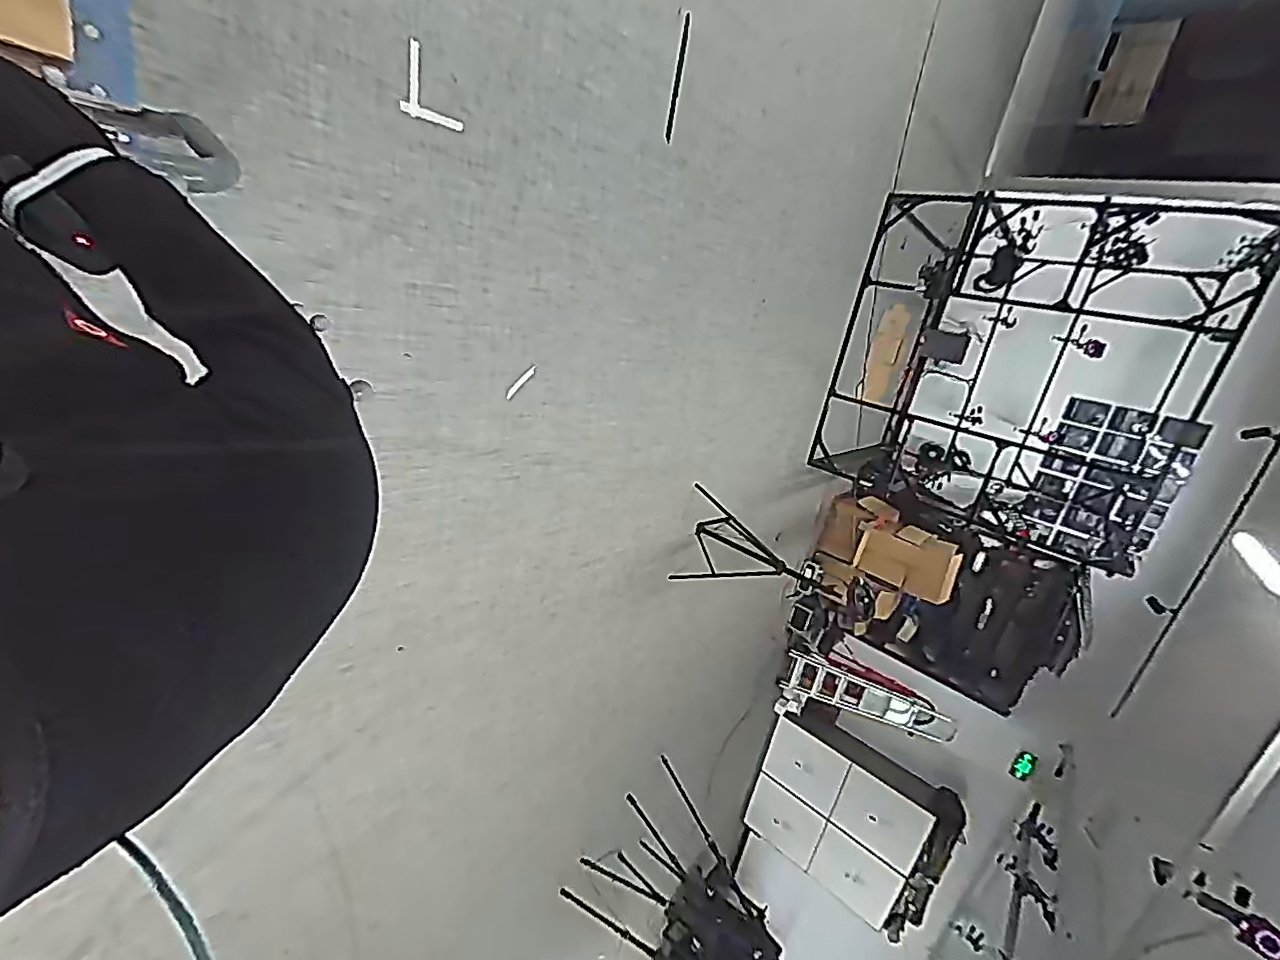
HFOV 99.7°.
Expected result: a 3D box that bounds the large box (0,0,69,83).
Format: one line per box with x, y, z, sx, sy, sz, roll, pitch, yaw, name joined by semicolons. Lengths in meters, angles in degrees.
-0.881;-0.646;0.516;0.408;0.320;0.320;-13;120;-51;large box
